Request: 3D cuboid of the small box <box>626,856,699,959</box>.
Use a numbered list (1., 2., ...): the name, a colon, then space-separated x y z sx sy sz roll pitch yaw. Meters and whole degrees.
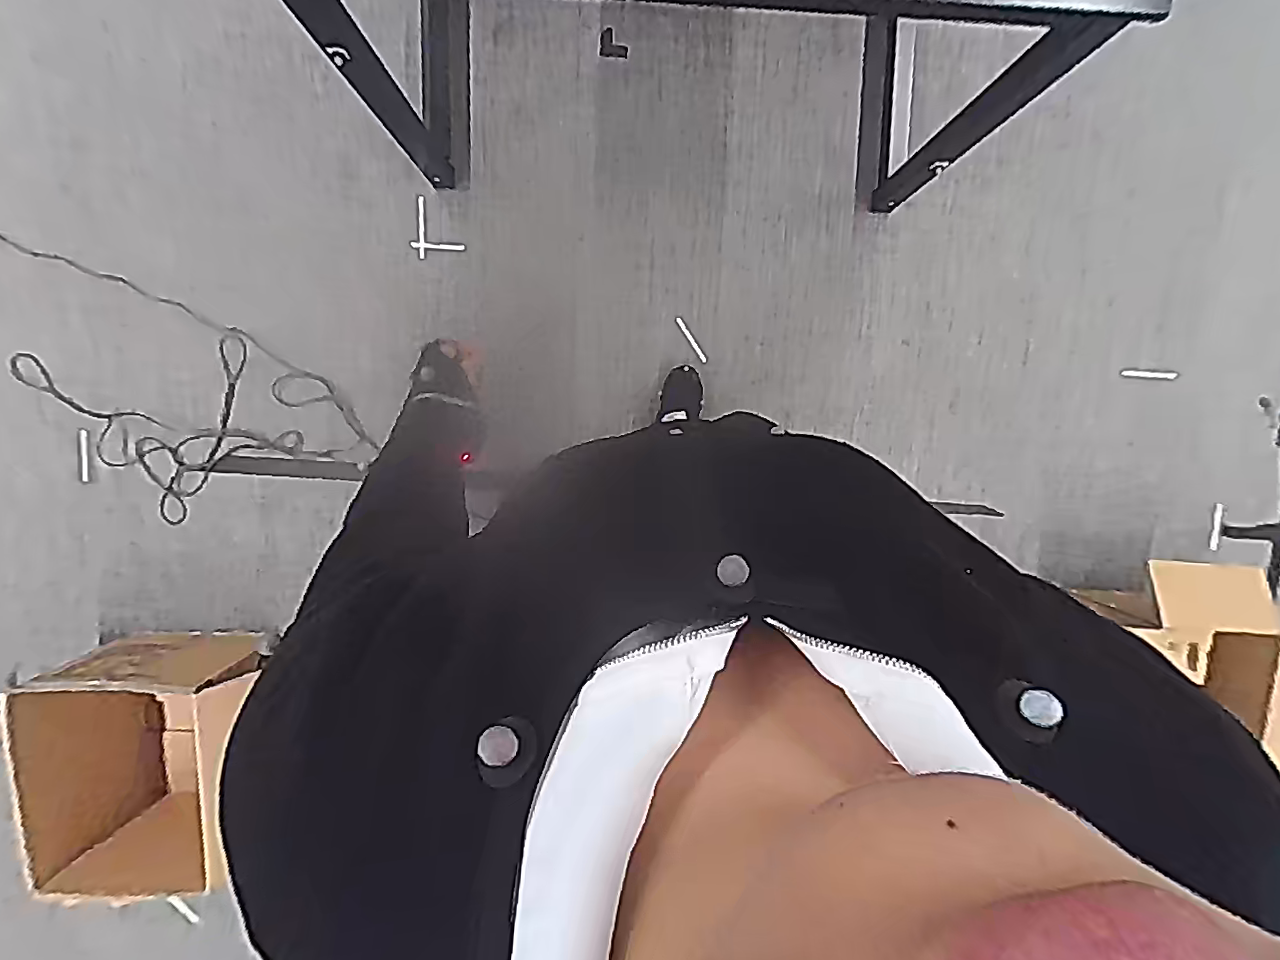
1. small box: 0.058 1.186 1.499 0.179 0.176 0.168 7 94 -1
